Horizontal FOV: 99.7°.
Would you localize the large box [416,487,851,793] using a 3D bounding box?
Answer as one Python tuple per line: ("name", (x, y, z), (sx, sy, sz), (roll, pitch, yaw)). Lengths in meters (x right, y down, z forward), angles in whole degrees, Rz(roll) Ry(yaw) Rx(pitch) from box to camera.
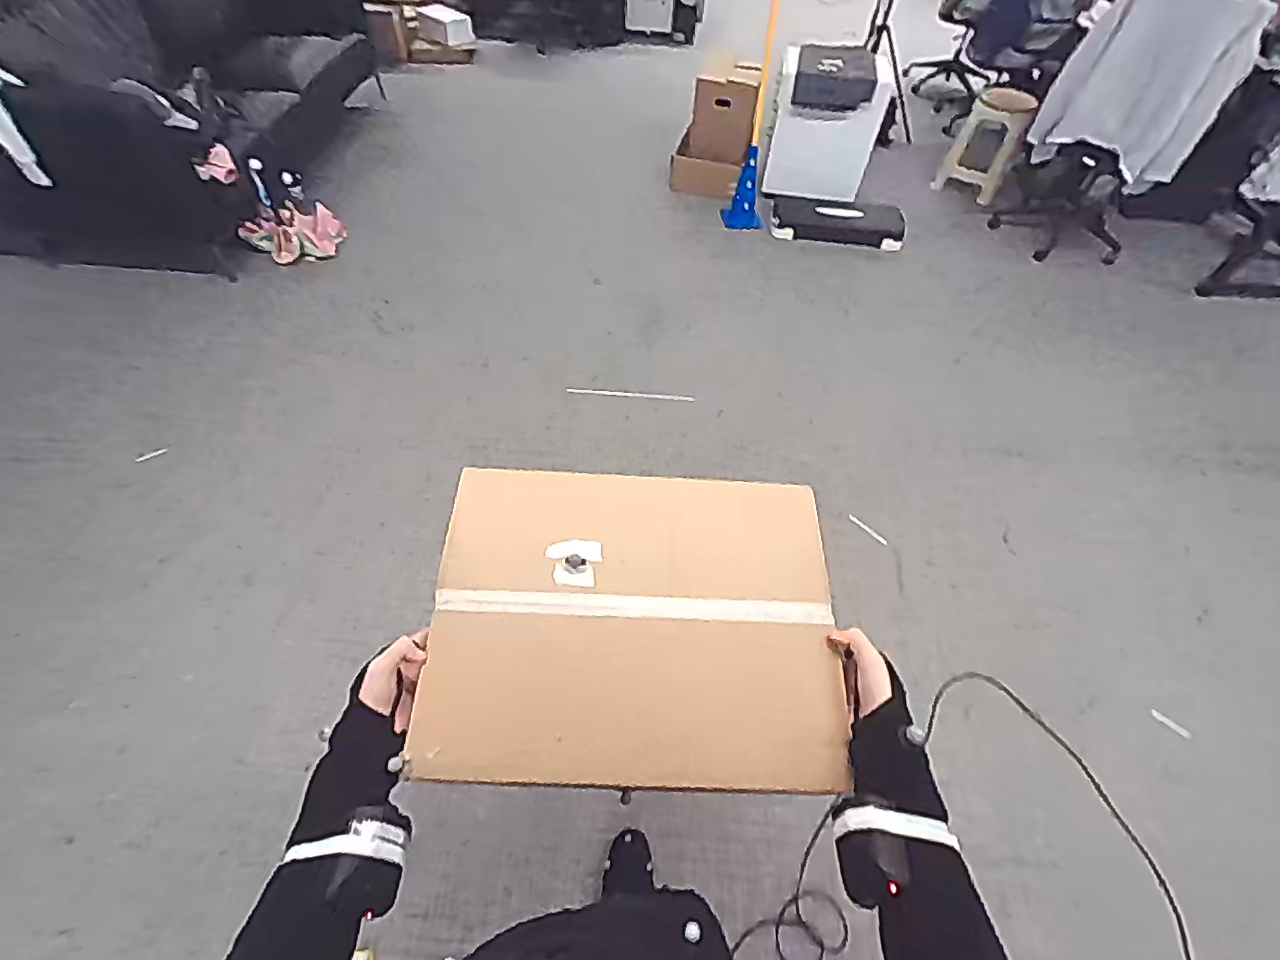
("large box", (-0.007, 0.219, 0.691), (0.408, 0.320, 0.320), (2, 58, -2))
